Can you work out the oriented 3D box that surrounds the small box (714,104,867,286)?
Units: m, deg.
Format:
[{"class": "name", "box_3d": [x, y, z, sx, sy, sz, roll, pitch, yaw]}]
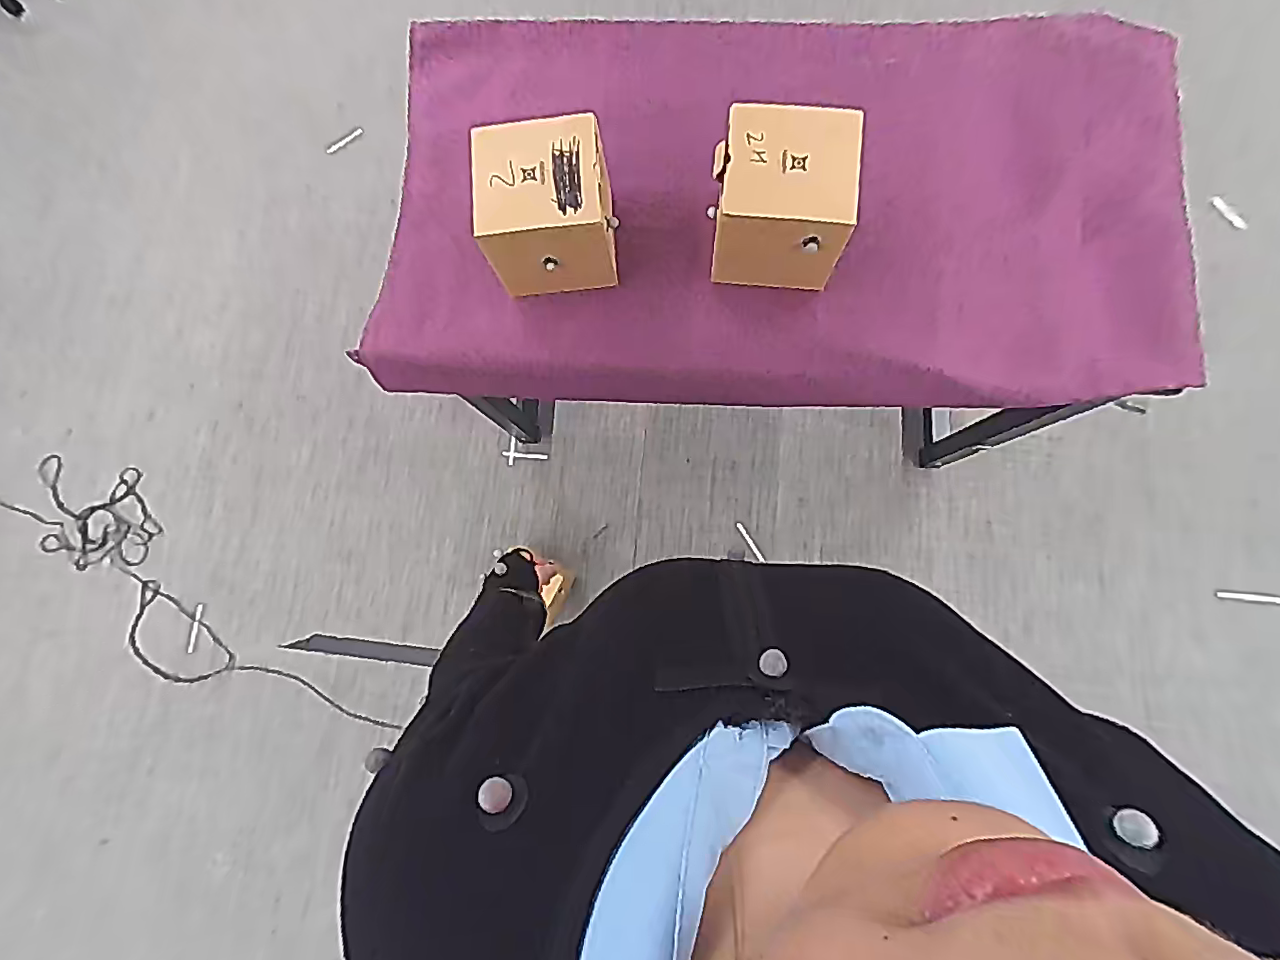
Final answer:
[{"class": "small box", "box_3d": [0.206, -0.397, 0.778, 0.179, 0.176, 0.168, 6, 81, 6]}]

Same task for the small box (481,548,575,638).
[{"class": "small box", "box_3d": [-0.290, 0.298, 1.449, 0.168, 0.176, 0.179, 26, 84, 7]}]
